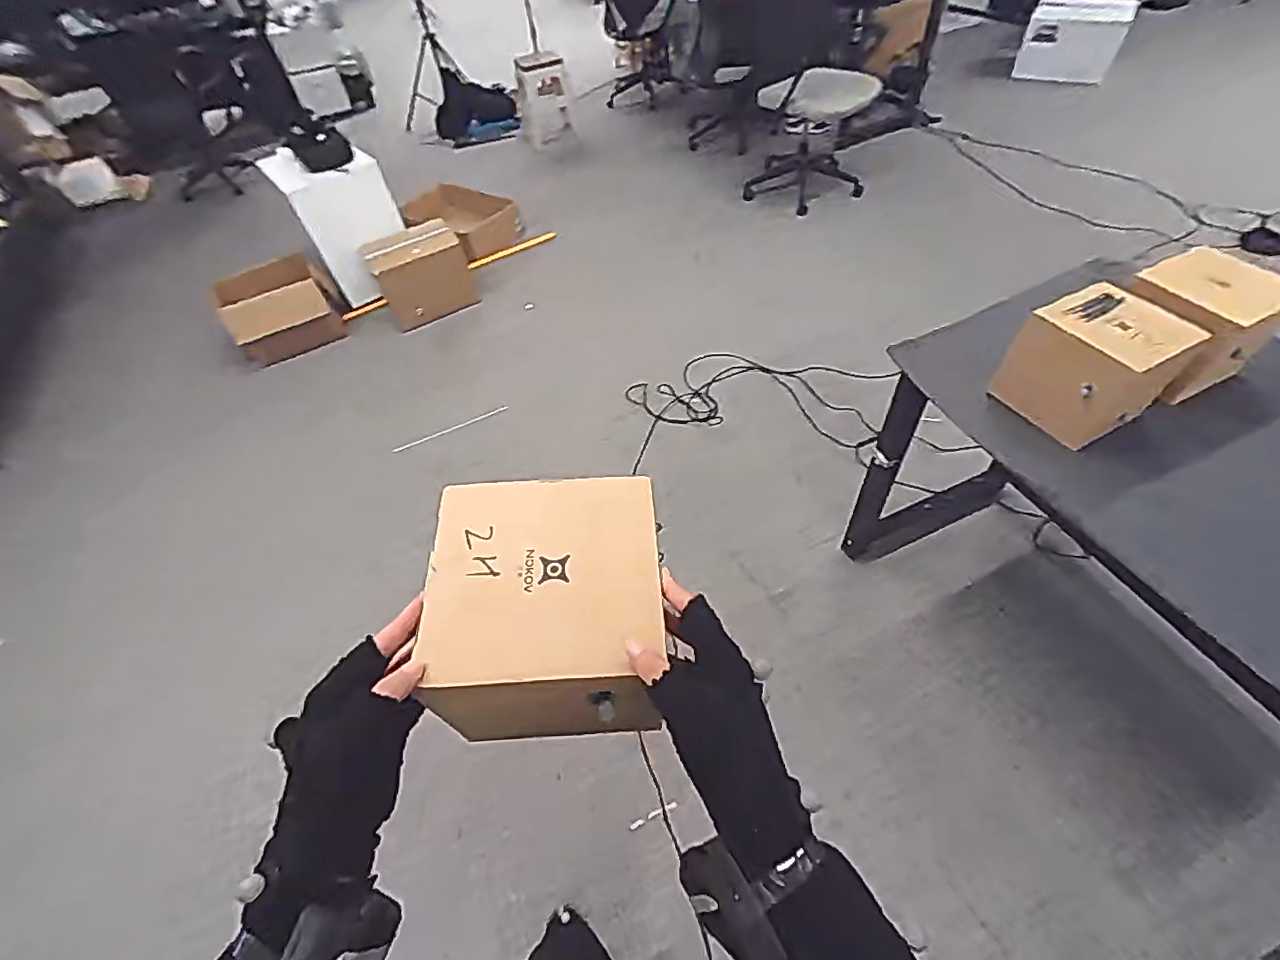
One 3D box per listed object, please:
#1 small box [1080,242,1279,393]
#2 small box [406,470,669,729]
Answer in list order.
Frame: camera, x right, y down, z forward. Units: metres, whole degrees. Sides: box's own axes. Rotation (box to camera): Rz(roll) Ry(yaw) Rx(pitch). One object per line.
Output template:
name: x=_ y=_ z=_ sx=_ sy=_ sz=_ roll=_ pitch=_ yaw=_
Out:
small box: x=0.927 y=-0.270 z=0.926 sx=0.168 sy=0.176 sz=0.179 roll=-24 pitch=52 yaw=-11
small box: x=-0.071 y=0.108 z=0.468 sx=0.179 sy=0.176 sz=0.168 roll=-3 pitch=53 yaw=-1
